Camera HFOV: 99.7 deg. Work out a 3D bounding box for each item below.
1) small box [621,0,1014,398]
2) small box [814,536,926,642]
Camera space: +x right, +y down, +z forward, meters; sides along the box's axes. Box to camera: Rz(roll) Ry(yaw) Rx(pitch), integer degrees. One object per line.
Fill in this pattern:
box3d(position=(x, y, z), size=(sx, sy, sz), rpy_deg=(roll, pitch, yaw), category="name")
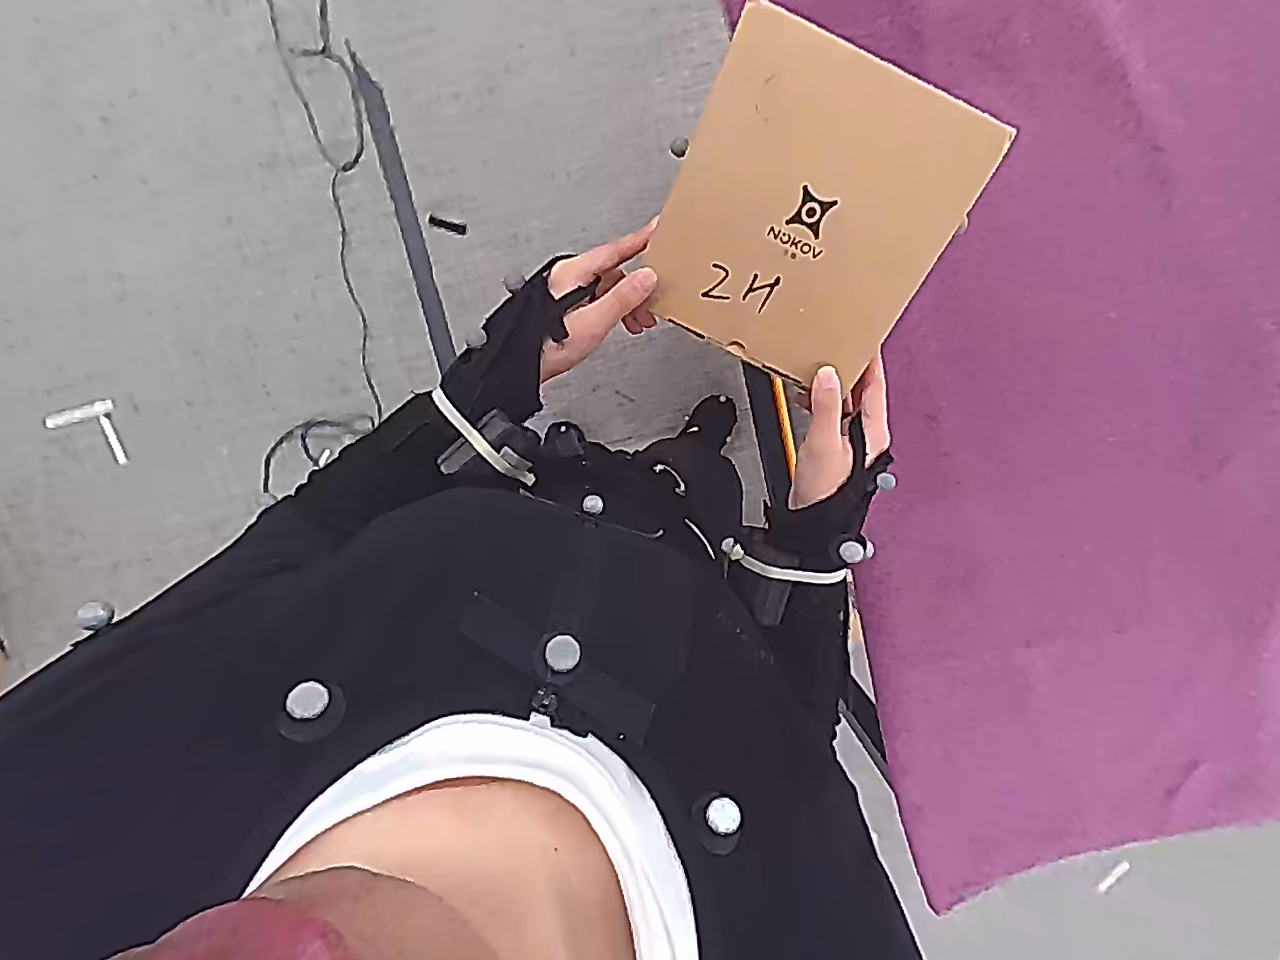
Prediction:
box3d(position=(0.104, -0.191, 0.389), size=(0.168, 0.176, 0.179), rpy_deg=(25, 117, -3), category="small box")
box3d(position=(0.506, 0.237, 1.215), size=(0.179, 0.176, 0.168), rpy_deg=(-13, 99, 1), category="small box")
